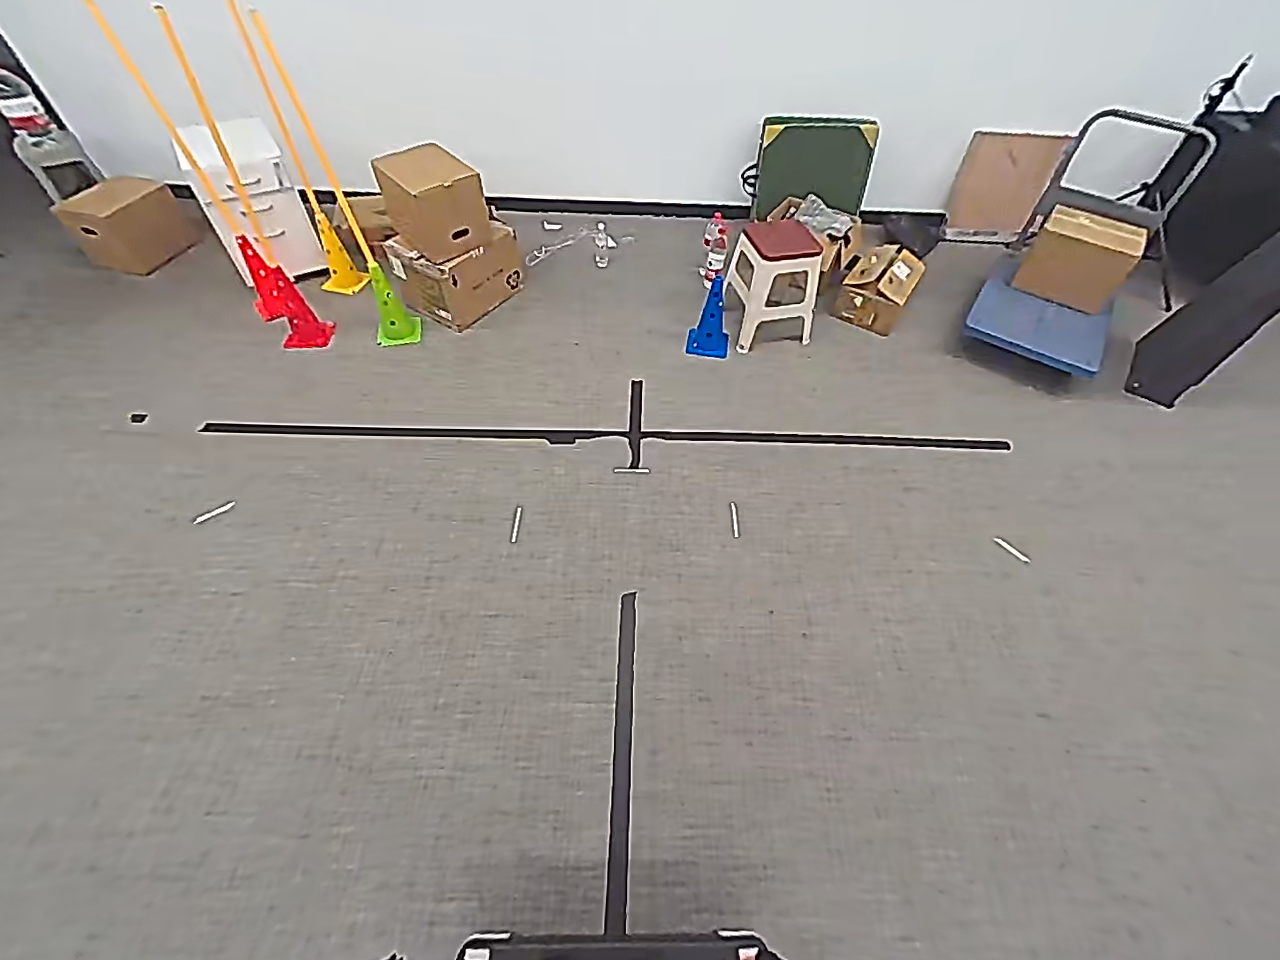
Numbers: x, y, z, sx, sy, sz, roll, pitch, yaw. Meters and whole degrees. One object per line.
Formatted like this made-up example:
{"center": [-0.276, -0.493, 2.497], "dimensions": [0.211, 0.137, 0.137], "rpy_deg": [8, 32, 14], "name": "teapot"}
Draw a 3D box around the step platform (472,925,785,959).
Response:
{"center": [-0.025, 1.112, 1.117], "dimensions": [0.684, 0.204, 0.286], "rpy_deg": [1, 52, -3], "name": "step platform"}
